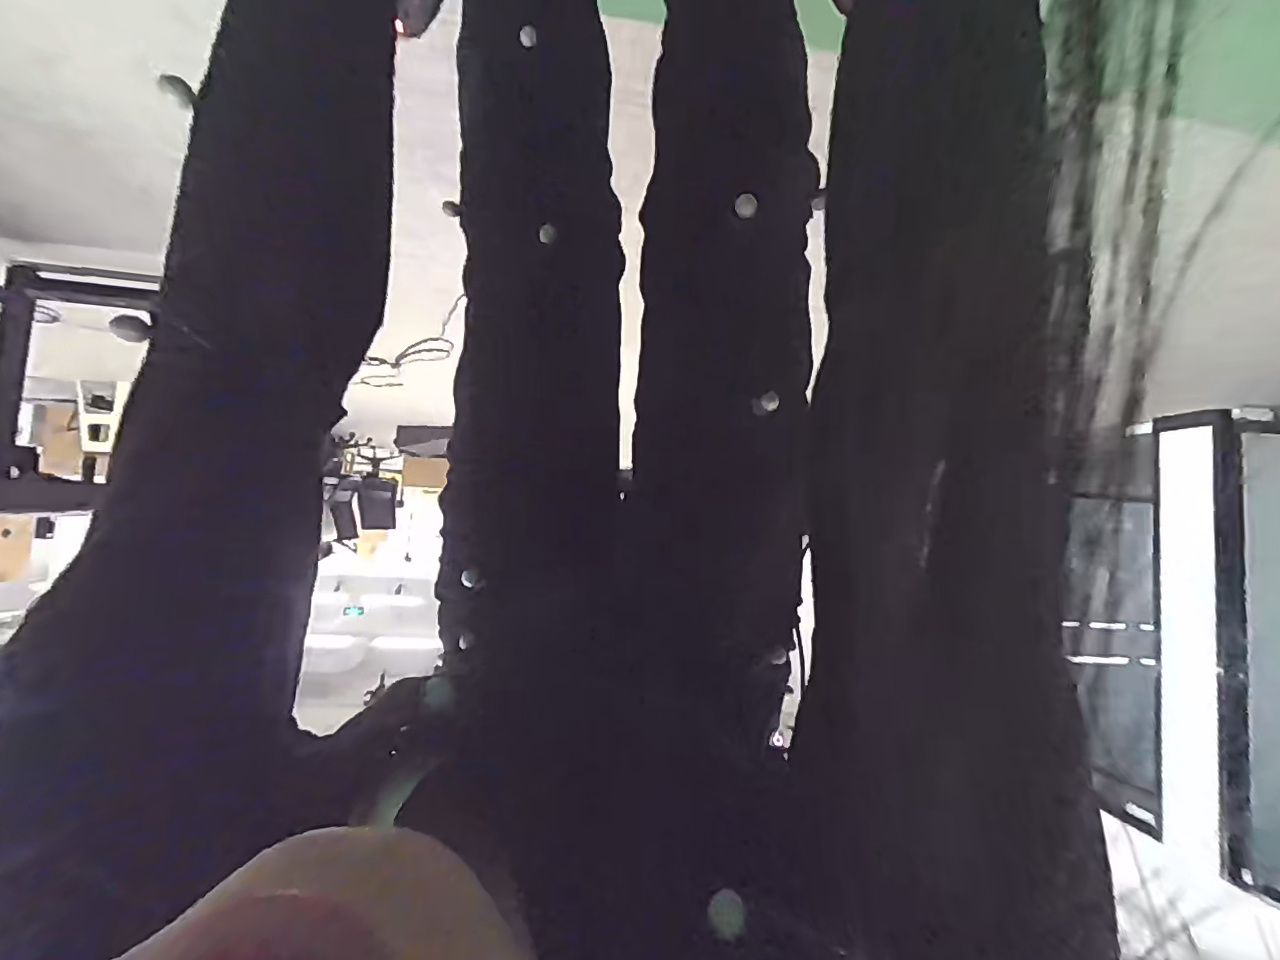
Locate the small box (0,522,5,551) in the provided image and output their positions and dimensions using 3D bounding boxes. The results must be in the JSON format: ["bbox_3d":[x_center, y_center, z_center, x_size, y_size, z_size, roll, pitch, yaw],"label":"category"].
[{"bbox_3d":[-1.498,0.159,1.120,0.179,0.176,0.168,4,175,-11],"label":"small box"}]
